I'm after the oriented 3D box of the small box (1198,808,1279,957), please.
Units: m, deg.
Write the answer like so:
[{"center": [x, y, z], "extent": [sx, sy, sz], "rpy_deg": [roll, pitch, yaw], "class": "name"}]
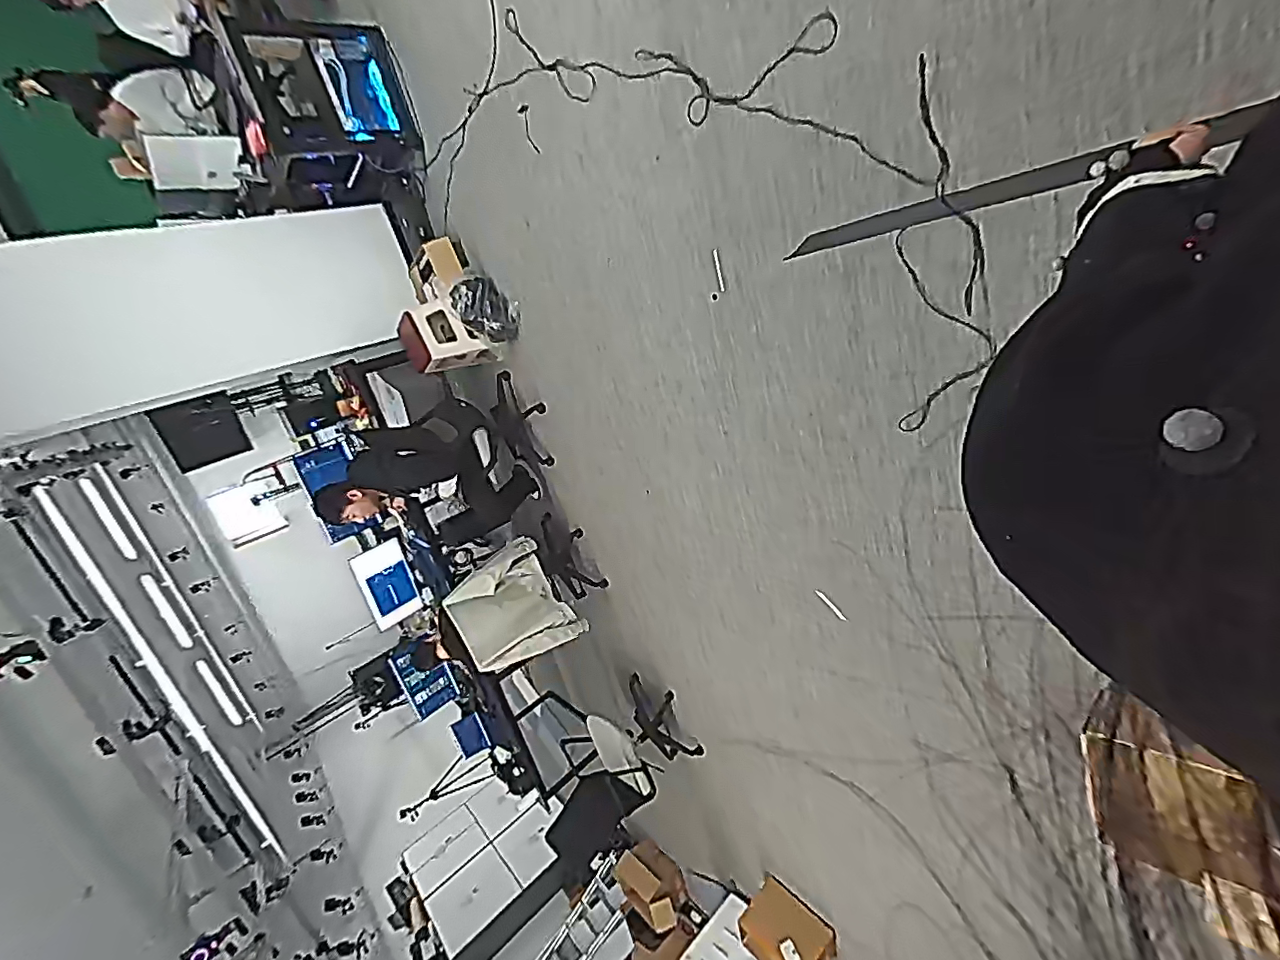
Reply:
[{"center": [1.290, 0.839, 1.122], "extent": [0.168, 0.176, 0.179], "rpy_deg": [1, 115, 52], "class": "small box"}]
